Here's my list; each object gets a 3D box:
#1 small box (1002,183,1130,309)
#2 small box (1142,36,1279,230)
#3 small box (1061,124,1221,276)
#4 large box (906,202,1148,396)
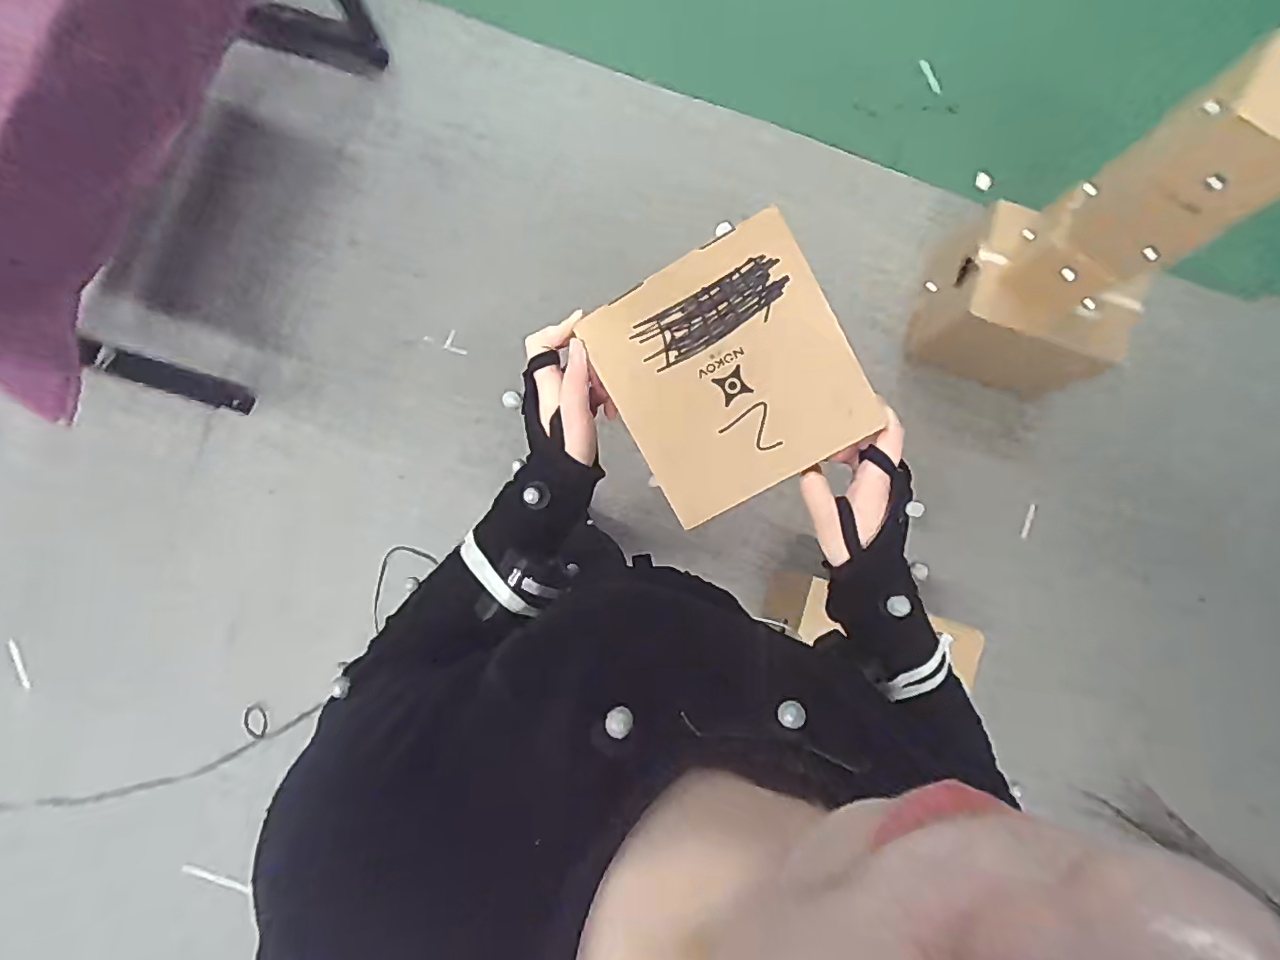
[{"bbox_3d":[0.974,-0.510,1.213,0.179,0.176,0.168,30,83,2],"label":"small box"},{"bbox_3d":[0.996,-0.557,0.890,0.168,0.176,0.179,34,83,2],"label":"small box"},{"bbox_3d":[0.990,-0.529,1.052,0.179,0.176,0.168,33,83,3],"label":"small box"},{"bbox_3d":[1.011,-0.462,1.454,0.408,0.320,0.320,19,84,-1],"label":"large box"}]
